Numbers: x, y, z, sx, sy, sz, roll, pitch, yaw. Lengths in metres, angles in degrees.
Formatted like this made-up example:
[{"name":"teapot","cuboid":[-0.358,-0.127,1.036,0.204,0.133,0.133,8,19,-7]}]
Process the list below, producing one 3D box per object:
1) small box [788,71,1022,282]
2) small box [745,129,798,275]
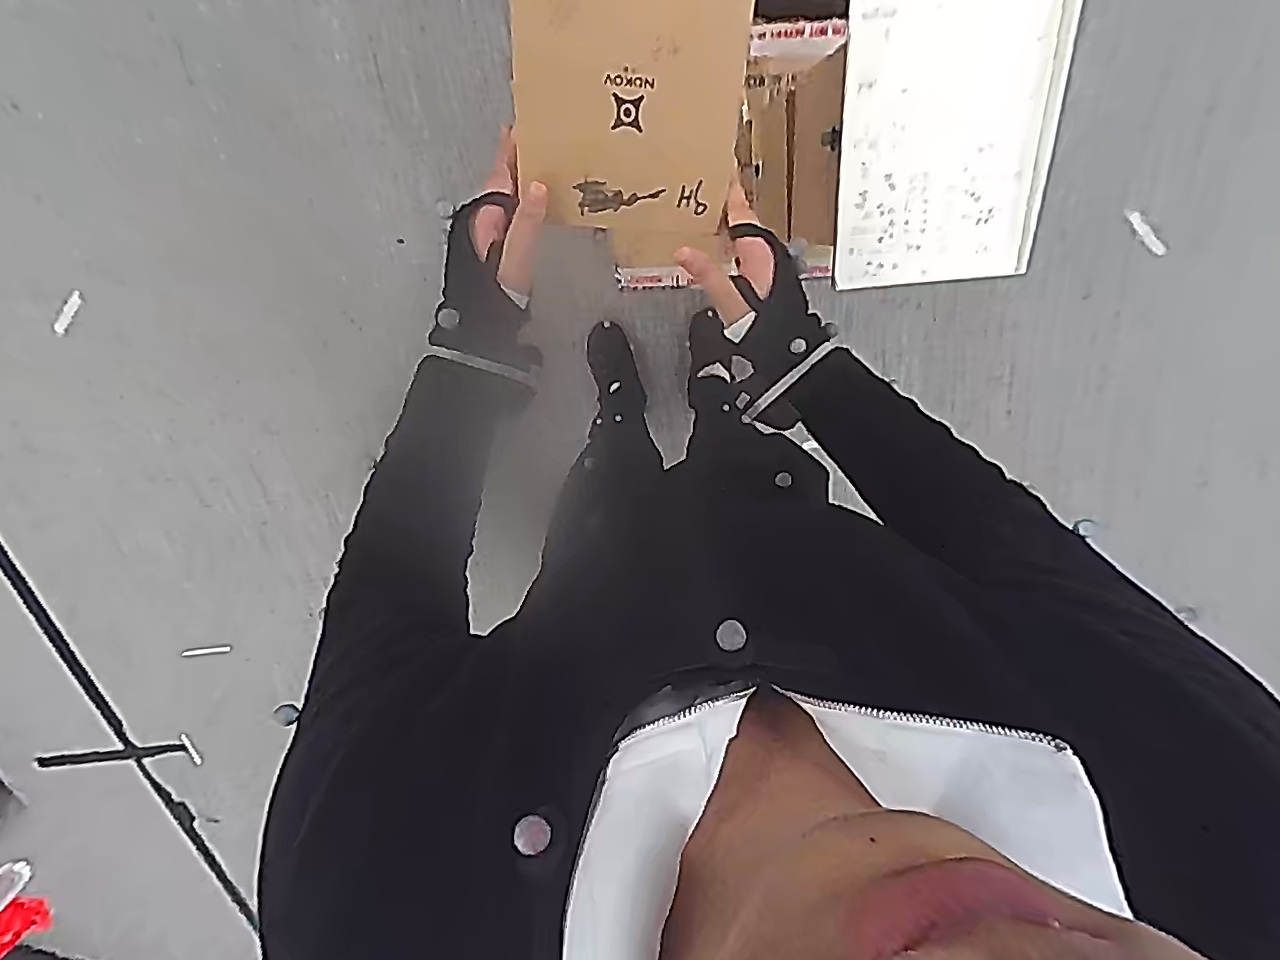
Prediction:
[{"name":"small box","cuboid":[0.272,-0.323,0.602,0.168,0.176,0.179,-6,115,-2]},{"name":"small box","cuboid":[0.256,-0.388,0.751,0.179,0.176,0.168,-9,114,0]}]
